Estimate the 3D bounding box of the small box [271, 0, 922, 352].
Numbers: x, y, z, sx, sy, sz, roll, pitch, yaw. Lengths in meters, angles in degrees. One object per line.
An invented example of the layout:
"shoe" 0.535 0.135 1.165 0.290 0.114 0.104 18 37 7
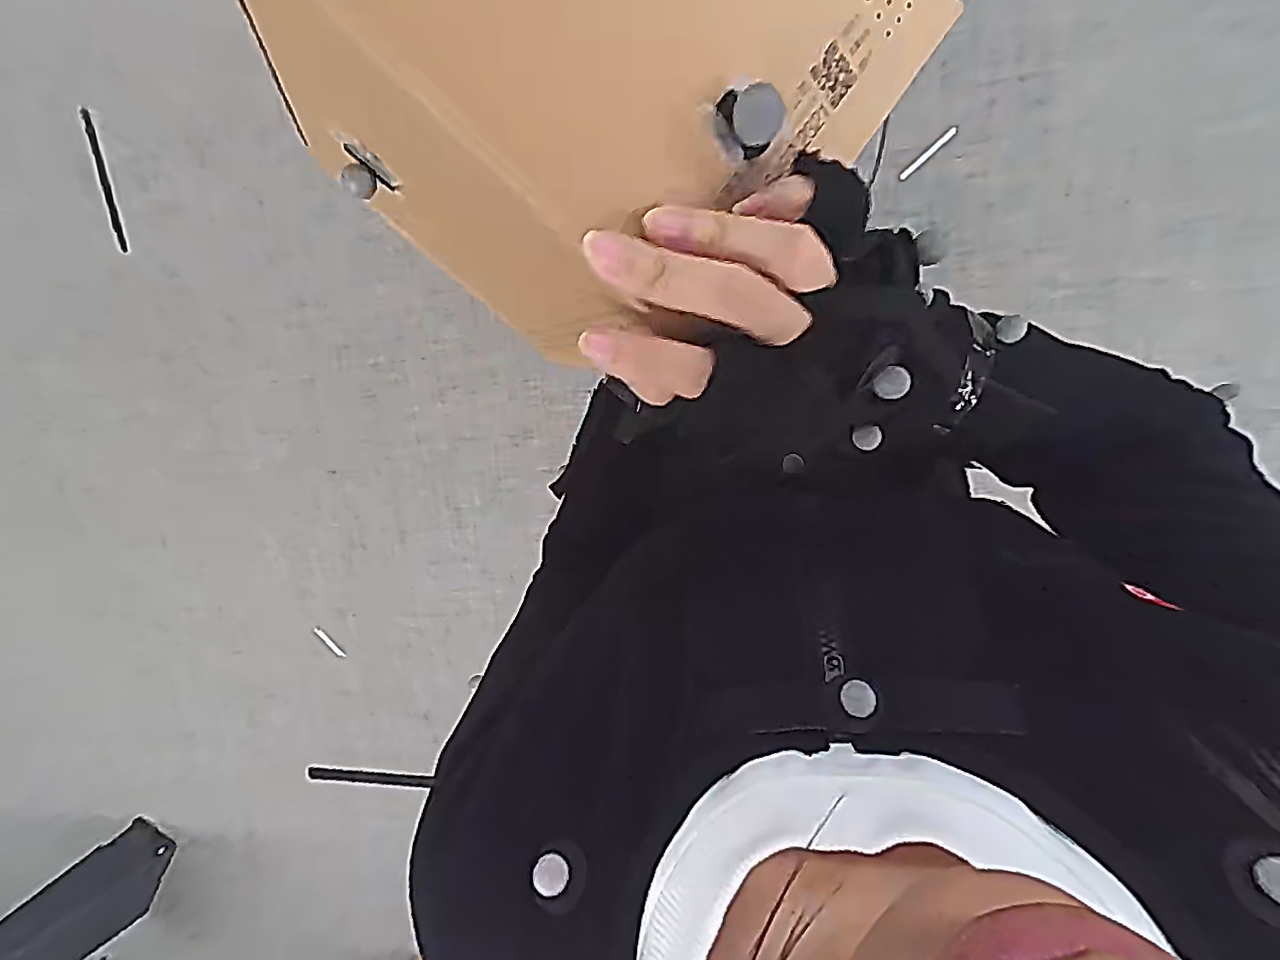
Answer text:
"small box" -0.022 -0.173 0.244 0.176 0.179 0.168 38 84 -26
